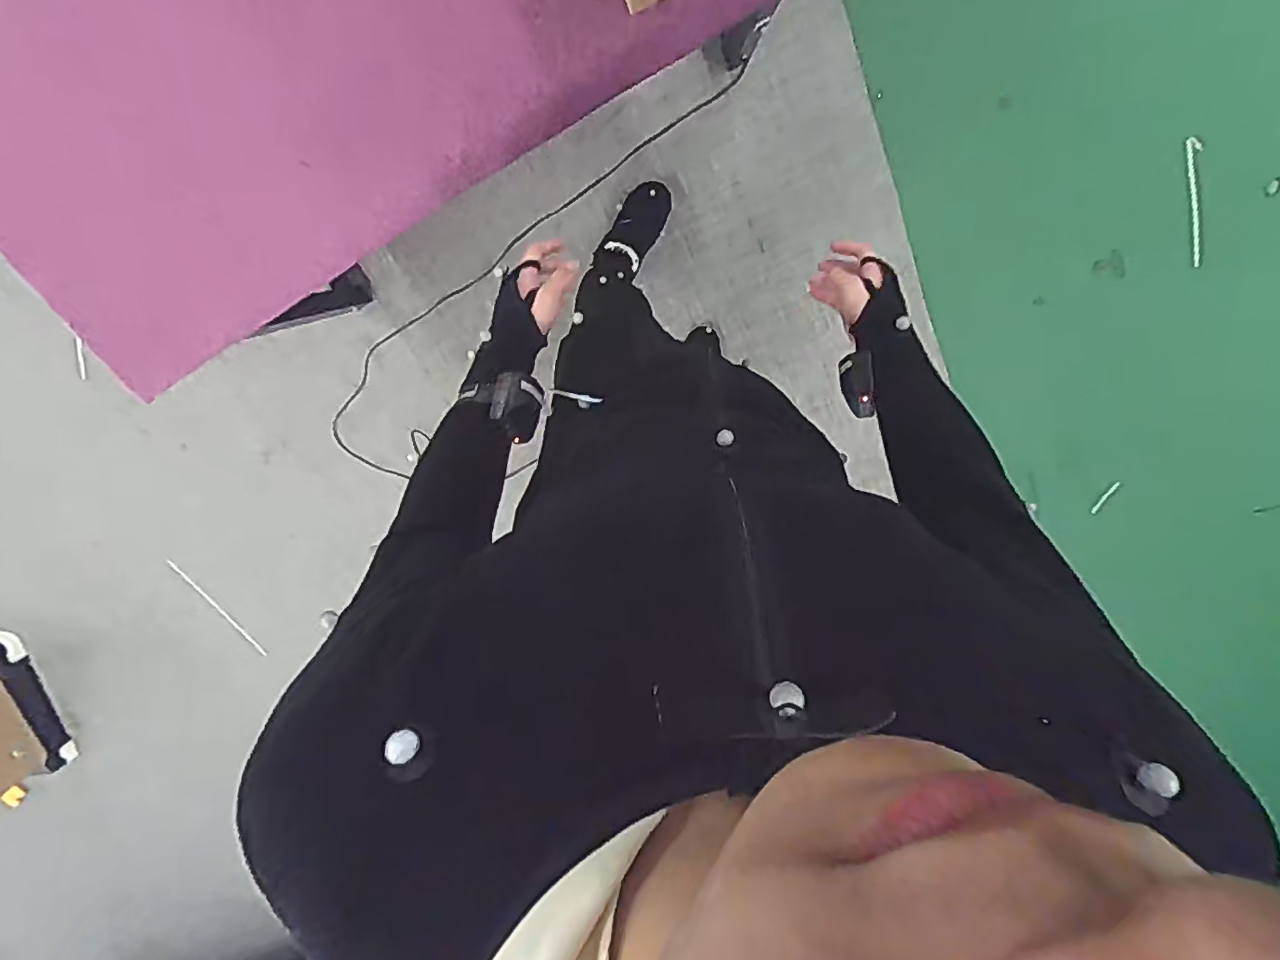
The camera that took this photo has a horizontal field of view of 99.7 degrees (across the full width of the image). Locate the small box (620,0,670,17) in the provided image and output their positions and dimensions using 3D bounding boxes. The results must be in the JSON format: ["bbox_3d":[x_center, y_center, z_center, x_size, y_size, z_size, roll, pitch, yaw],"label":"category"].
[{"bbox_3d":[0.033,-0.609,0.522,0.179,0.176,0.168,-21,110,11],"label":"small box"}]
